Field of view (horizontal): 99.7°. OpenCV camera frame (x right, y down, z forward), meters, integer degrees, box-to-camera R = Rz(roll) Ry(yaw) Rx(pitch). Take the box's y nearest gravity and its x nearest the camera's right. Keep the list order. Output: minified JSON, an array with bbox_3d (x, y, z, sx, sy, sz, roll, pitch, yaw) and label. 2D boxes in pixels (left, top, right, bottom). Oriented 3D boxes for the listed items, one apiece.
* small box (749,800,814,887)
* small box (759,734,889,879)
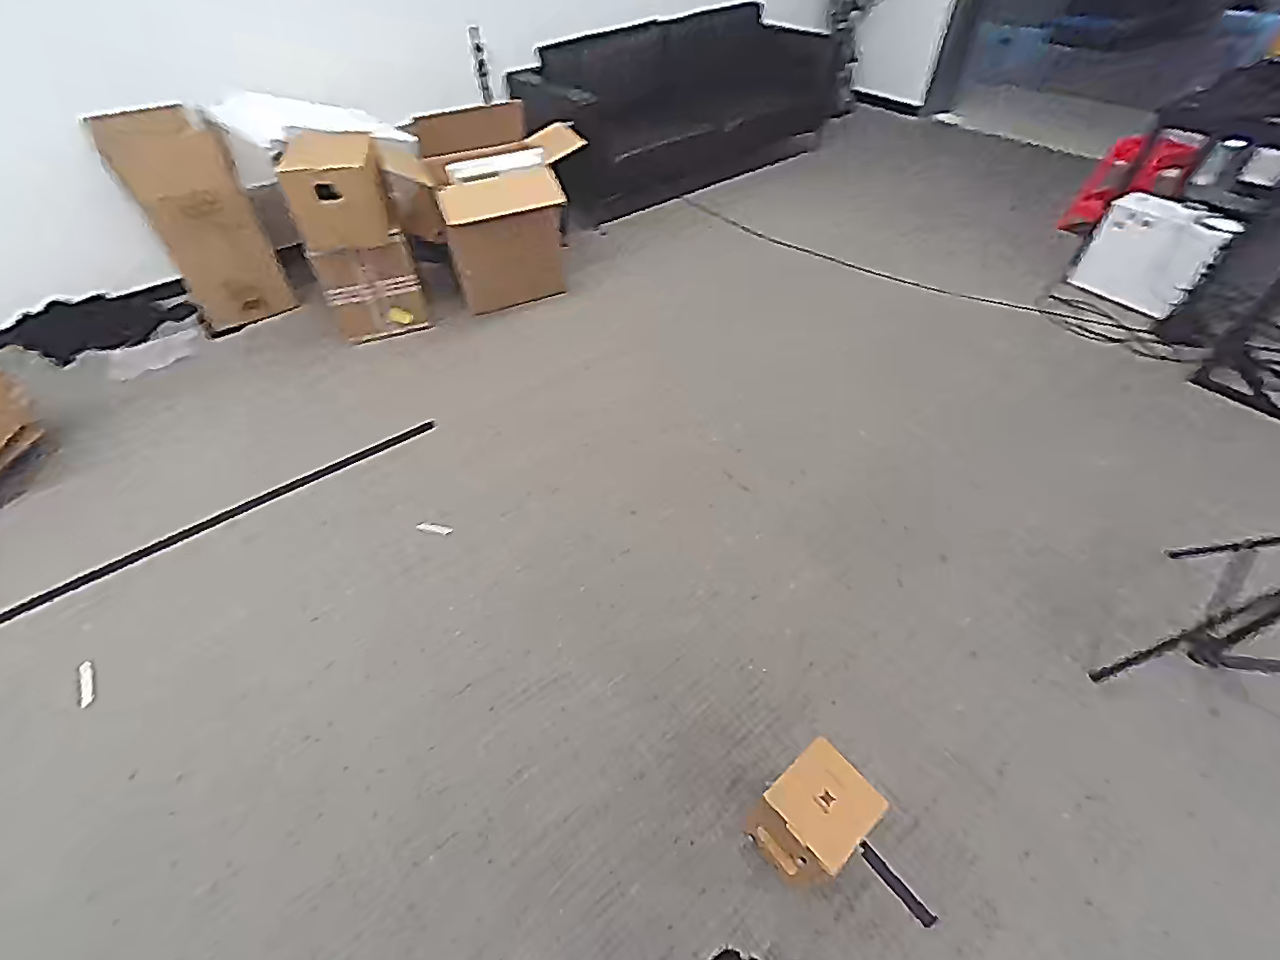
[{"bbox_3d":[0.358,0.760,1.200,0.179,0.176,0.168,-31,54,-24],"label":"small box"},{"bbox_3d":[0.354,0.653,1.078,0.179,0.176,0.168,-32,56,-24],"label":"small box"}]
